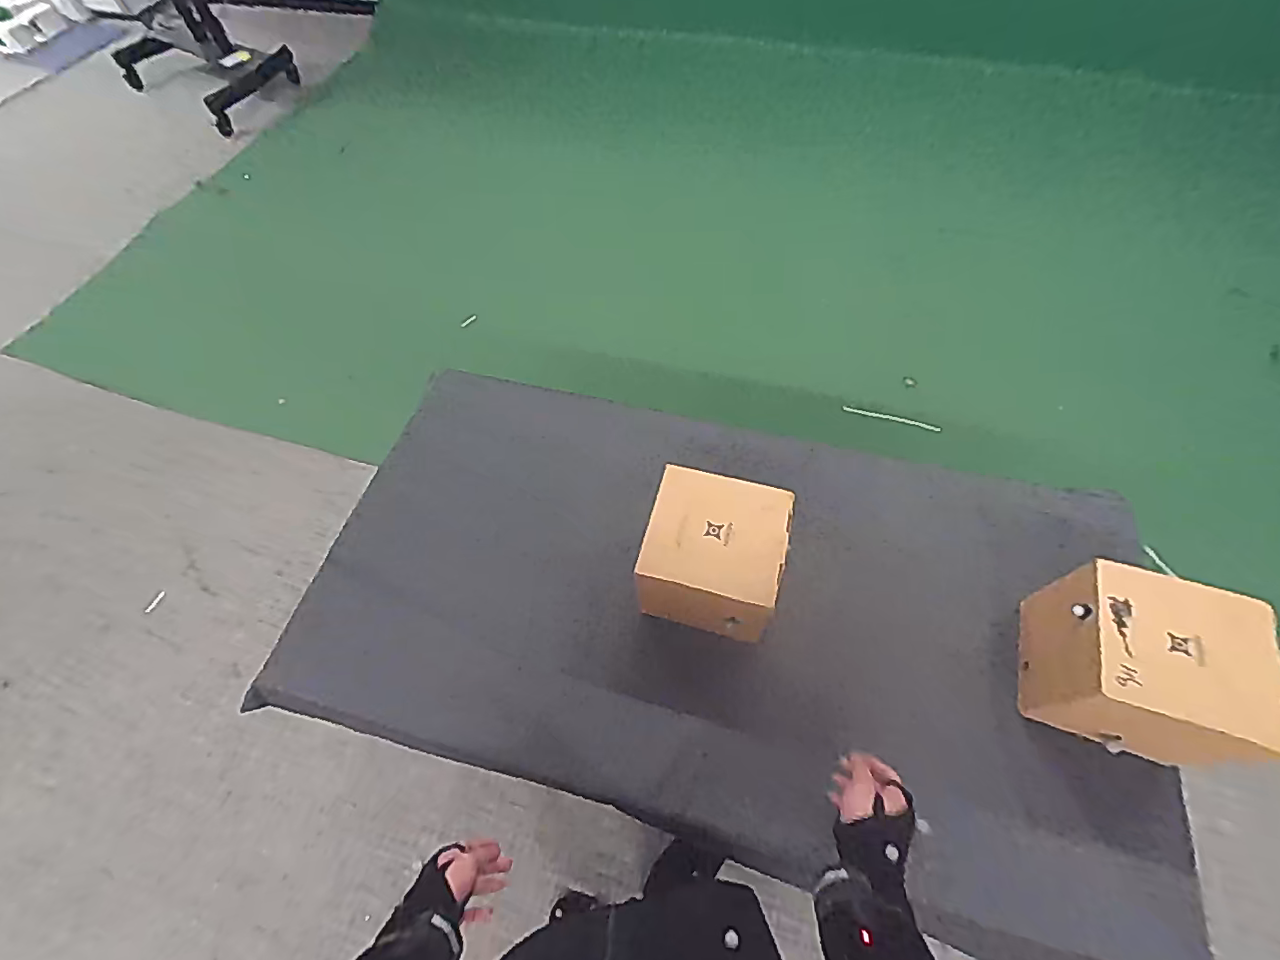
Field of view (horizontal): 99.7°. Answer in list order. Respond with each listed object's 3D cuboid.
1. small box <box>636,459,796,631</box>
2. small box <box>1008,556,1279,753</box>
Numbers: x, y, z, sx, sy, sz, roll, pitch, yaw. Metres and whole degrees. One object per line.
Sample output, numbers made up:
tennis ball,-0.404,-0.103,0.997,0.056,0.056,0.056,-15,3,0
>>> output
small box,0.102,0.097,0.750,0.179,0.176,0.168,13,61,10
small box,0.598,0.219,0.666,0.179,0.176,0.168,17,64,11
